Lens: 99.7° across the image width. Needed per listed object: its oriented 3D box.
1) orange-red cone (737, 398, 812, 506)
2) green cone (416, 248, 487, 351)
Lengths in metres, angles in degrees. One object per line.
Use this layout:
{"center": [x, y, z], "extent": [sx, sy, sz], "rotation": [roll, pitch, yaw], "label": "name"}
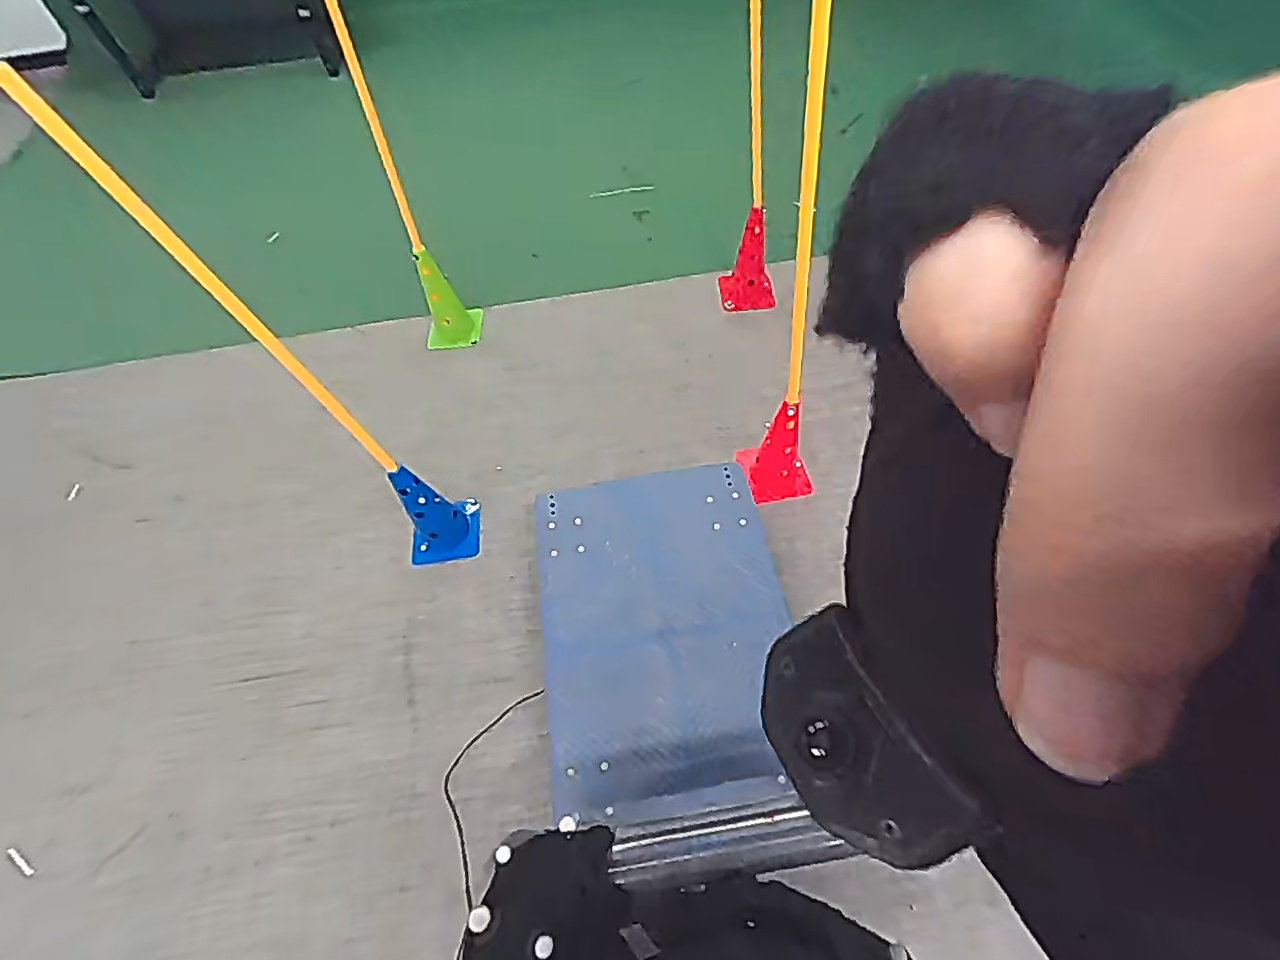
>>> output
{"center": [0.401, -0.103, 1.532], "extent": [0.199, 0.360, 0.198], "rotation": [-10, 58, 0], "label": "orange-red cone"}
{"center": [-0.712, -0.673, 1.956], "extent": [0.202, 0.368, 0.200], "rotation": [-5, 58, 2], "label": "green cone"}
